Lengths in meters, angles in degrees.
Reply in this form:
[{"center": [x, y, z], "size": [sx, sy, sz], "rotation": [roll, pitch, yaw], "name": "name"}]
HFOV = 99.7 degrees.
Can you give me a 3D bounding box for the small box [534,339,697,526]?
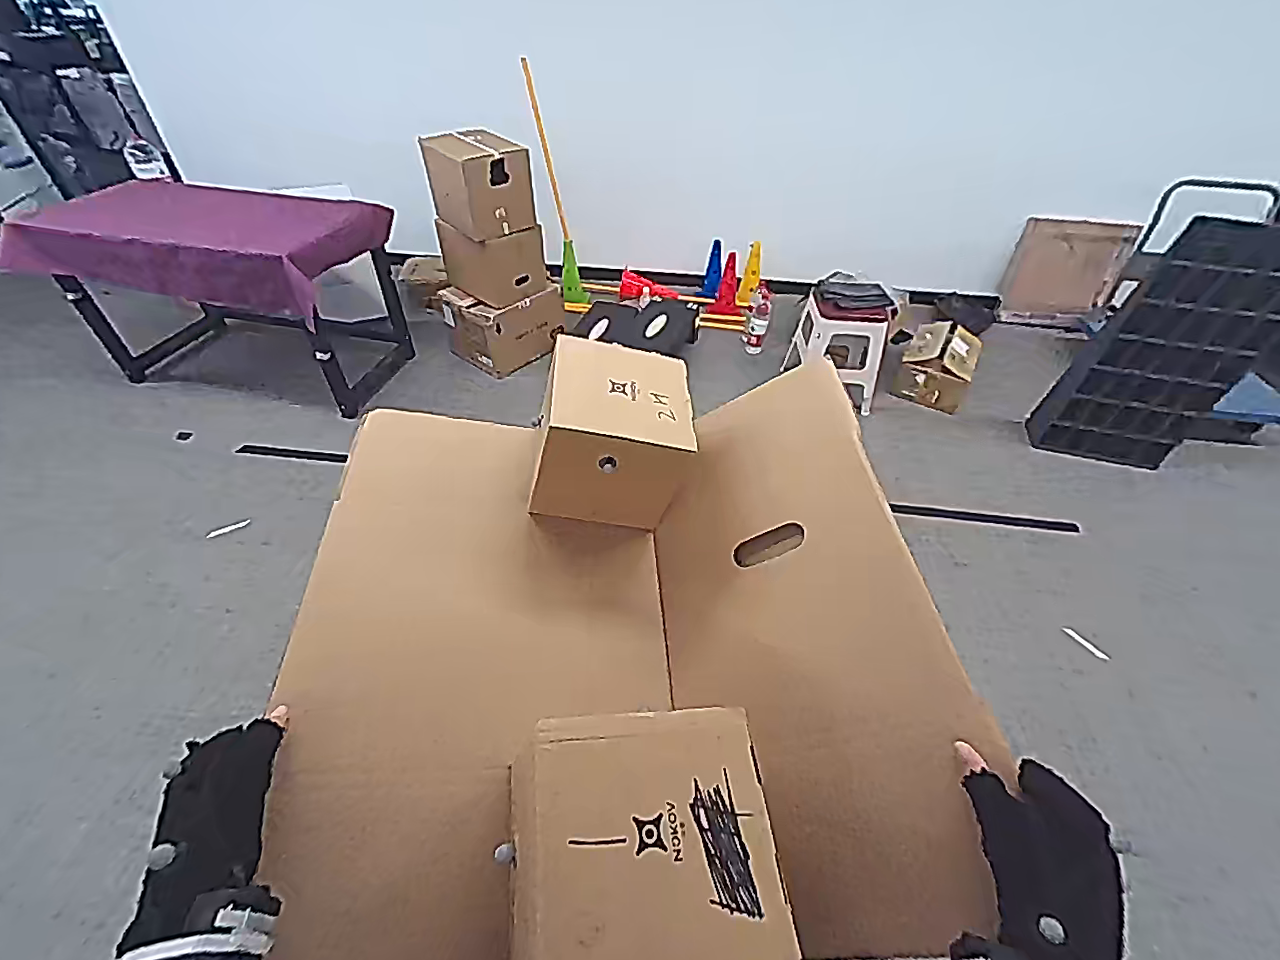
[{"center": [-0.039, -0.056, 0.720], "size": [0.179, 0.176, 0.168], "rotation": [10, 50, -14], "name": "small box"}]
